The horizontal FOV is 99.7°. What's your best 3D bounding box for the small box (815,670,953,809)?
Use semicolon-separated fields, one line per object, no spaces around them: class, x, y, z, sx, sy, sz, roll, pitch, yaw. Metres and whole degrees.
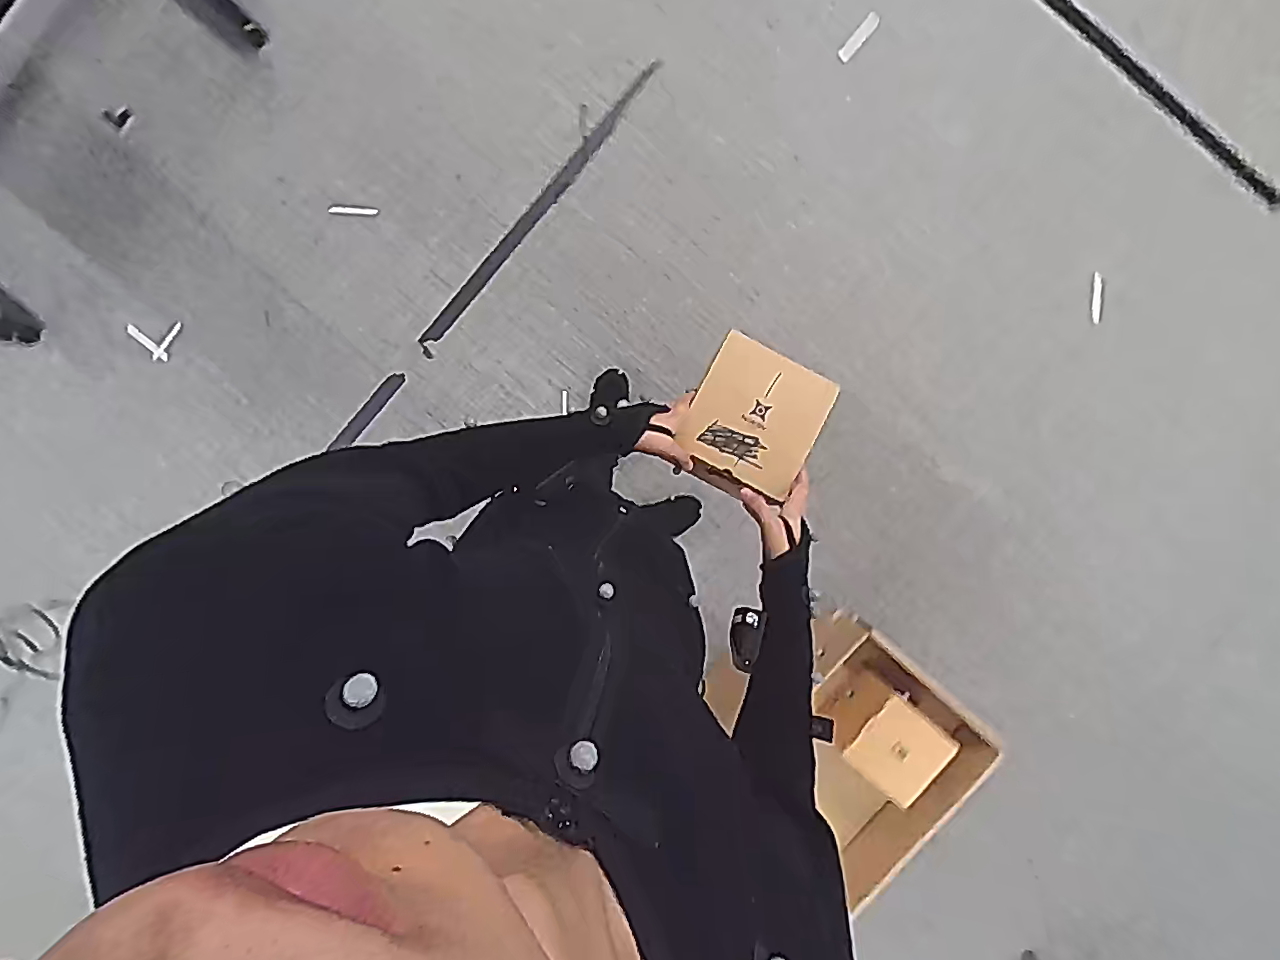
small box;0.512;0.543;1.161;0.179;0.176;0.168;40;92;-1

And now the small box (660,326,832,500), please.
small box;0.137;-0.082;0.771;0.168;0.176;0.179;27;86;-1
